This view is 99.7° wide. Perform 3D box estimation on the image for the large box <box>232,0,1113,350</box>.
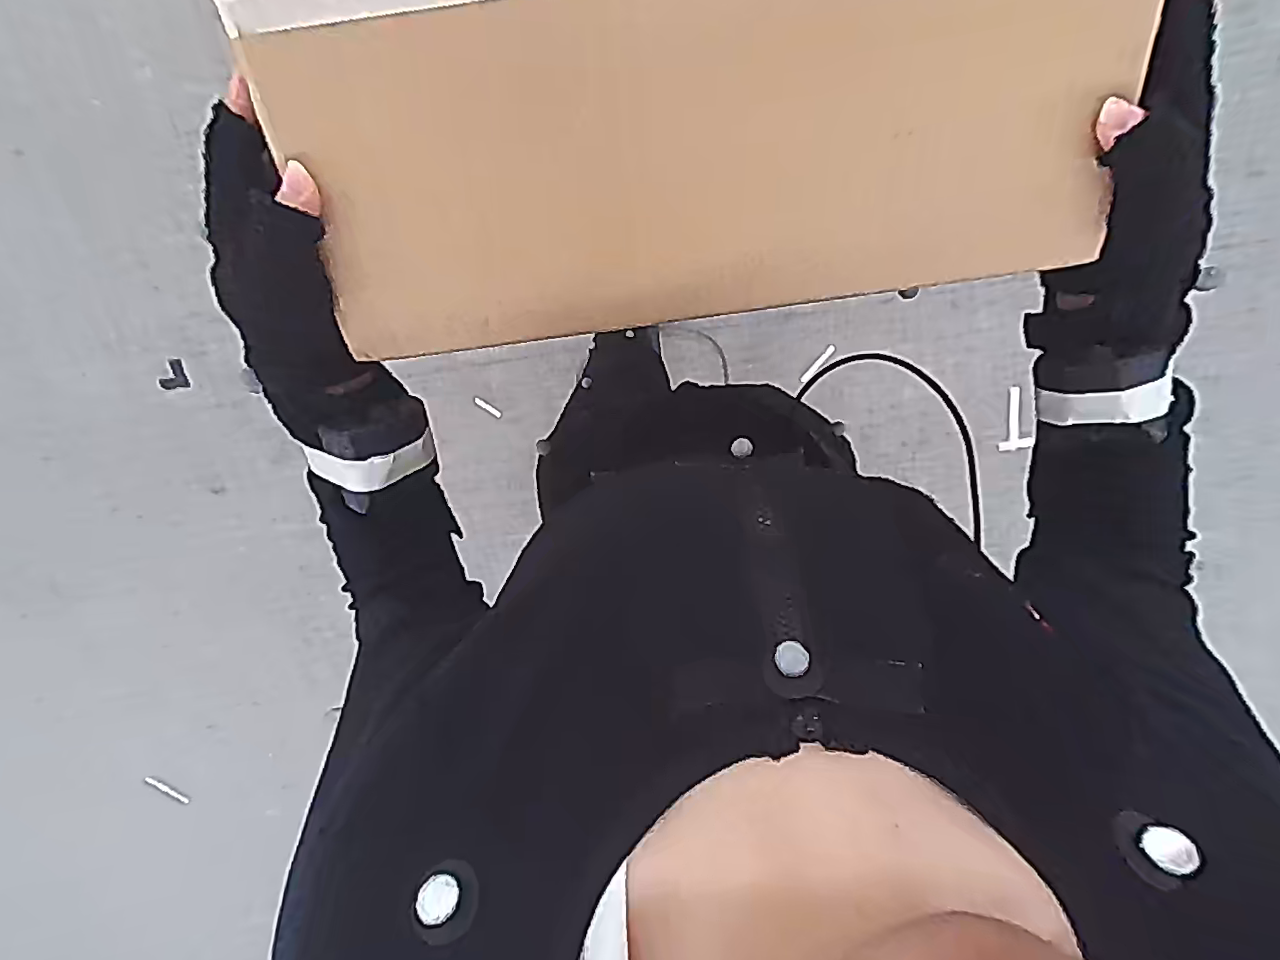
[{"bbox_3d":[0.013,-0.305,0.364,0.408,0.320,0.320,-7,117,3],"label":"large box"}]
